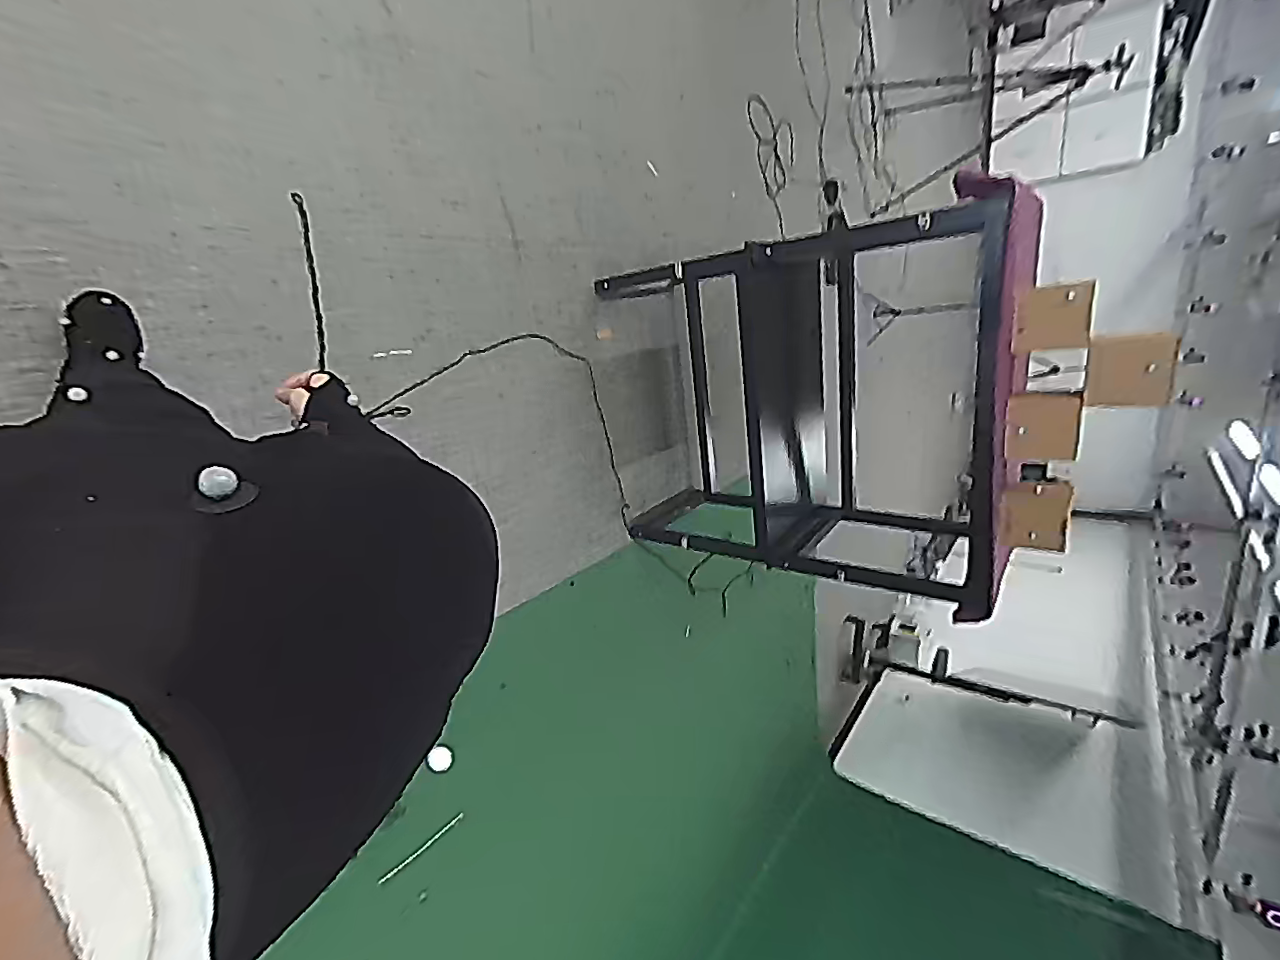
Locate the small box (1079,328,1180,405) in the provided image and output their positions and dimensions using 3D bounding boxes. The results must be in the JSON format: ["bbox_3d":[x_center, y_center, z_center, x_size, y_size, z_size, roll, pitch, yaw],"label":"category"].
[{"bbox_3d":[1.254,-0.292,1.395,0.168,0.176,0.179,-24,114,-48],"label":"small box"}]

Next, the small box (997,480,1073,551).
[{"bbox_3d":[1.180,0.100,1.618,0.179,0.176,0.168,-20,110,-48],"label":"small box"}]
